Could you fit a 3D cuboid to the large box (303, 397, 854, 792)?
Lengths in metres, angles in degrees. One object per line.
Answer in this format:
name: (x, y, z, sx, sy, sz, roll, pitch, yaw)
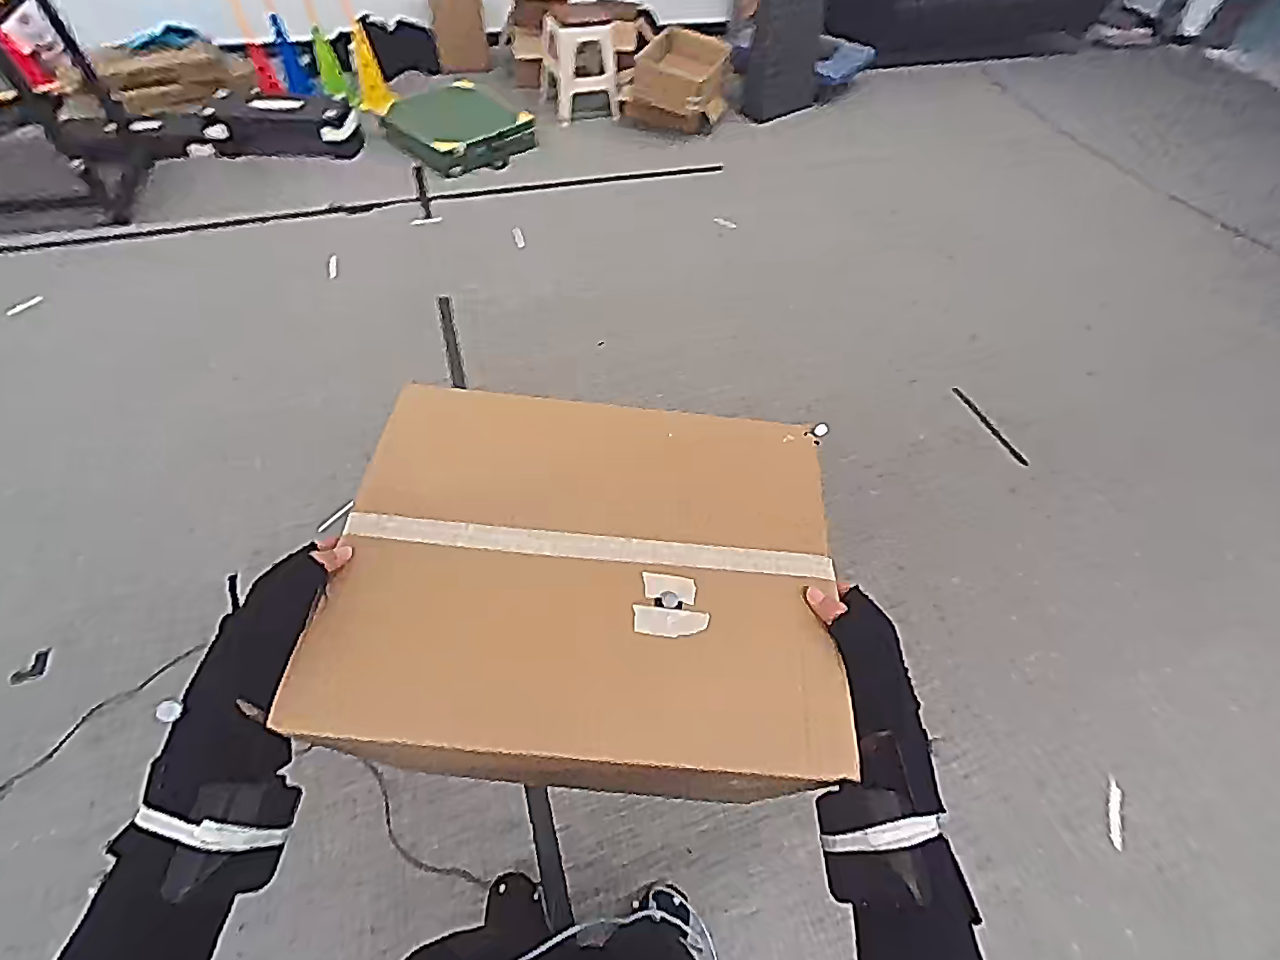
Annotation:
large box: (-0.045, 0.142, 0.588, 0.408, 0.320, 0.320, 6, 58, -2)
